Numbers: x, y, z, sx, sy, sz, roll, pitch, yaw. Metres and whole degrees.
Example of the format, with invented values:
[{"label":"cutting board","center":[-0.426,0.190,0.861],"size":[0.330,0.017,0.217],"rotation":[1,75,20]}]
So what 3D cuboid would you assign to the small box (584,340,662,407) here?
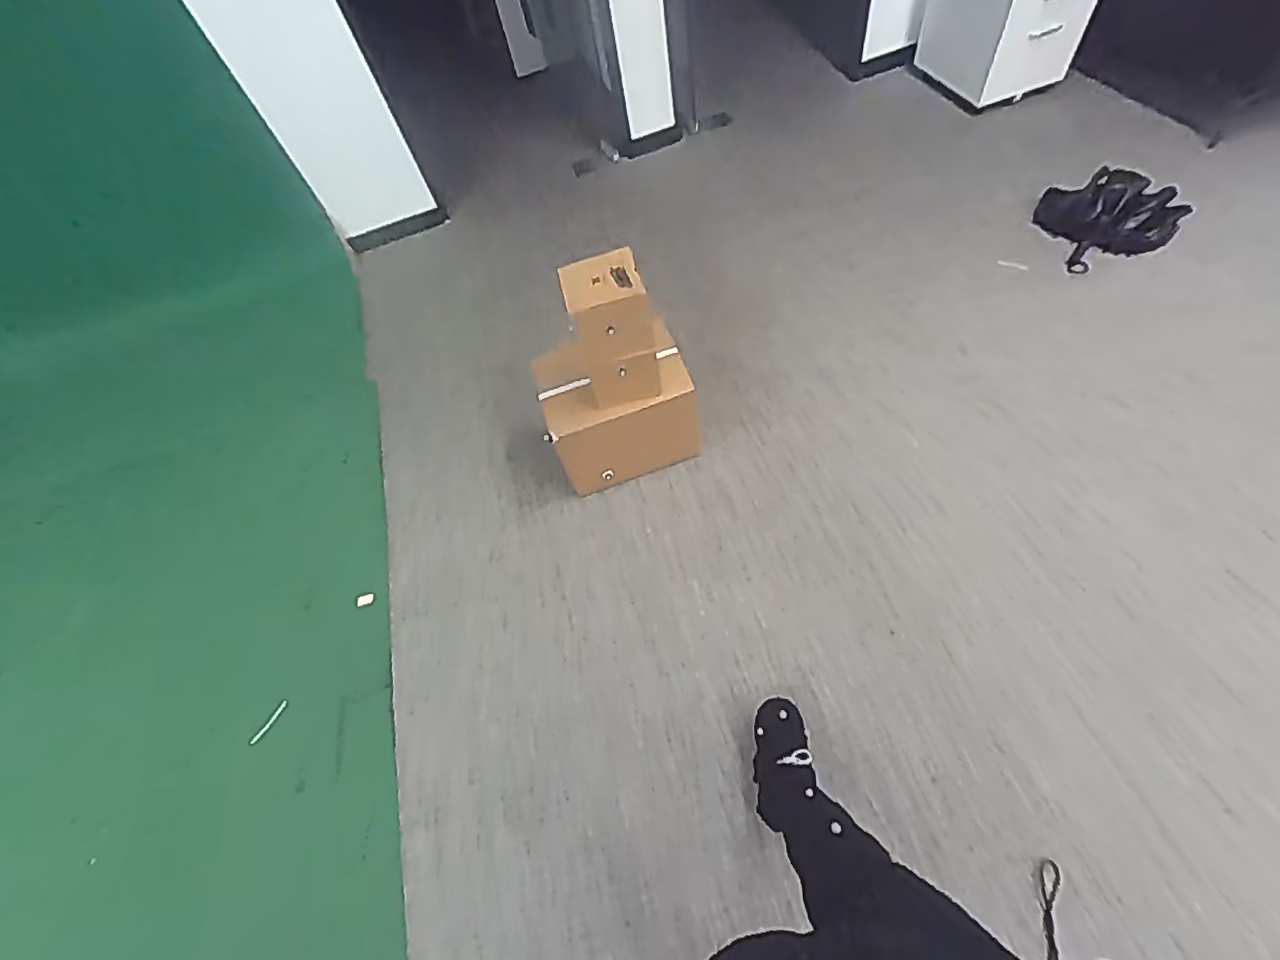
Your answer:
[{"label":"small box","center":[-0.050,-0.312,1.401],"size":[0.179,0.176,0.168],"rotation":[-14,59,0]}]

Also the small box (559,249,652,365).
[{"label":"small box","center":[-0.074,-0.398,1.264],"size":[0.179,0.176,0.168],"rotation":[-16,59,2]}]
